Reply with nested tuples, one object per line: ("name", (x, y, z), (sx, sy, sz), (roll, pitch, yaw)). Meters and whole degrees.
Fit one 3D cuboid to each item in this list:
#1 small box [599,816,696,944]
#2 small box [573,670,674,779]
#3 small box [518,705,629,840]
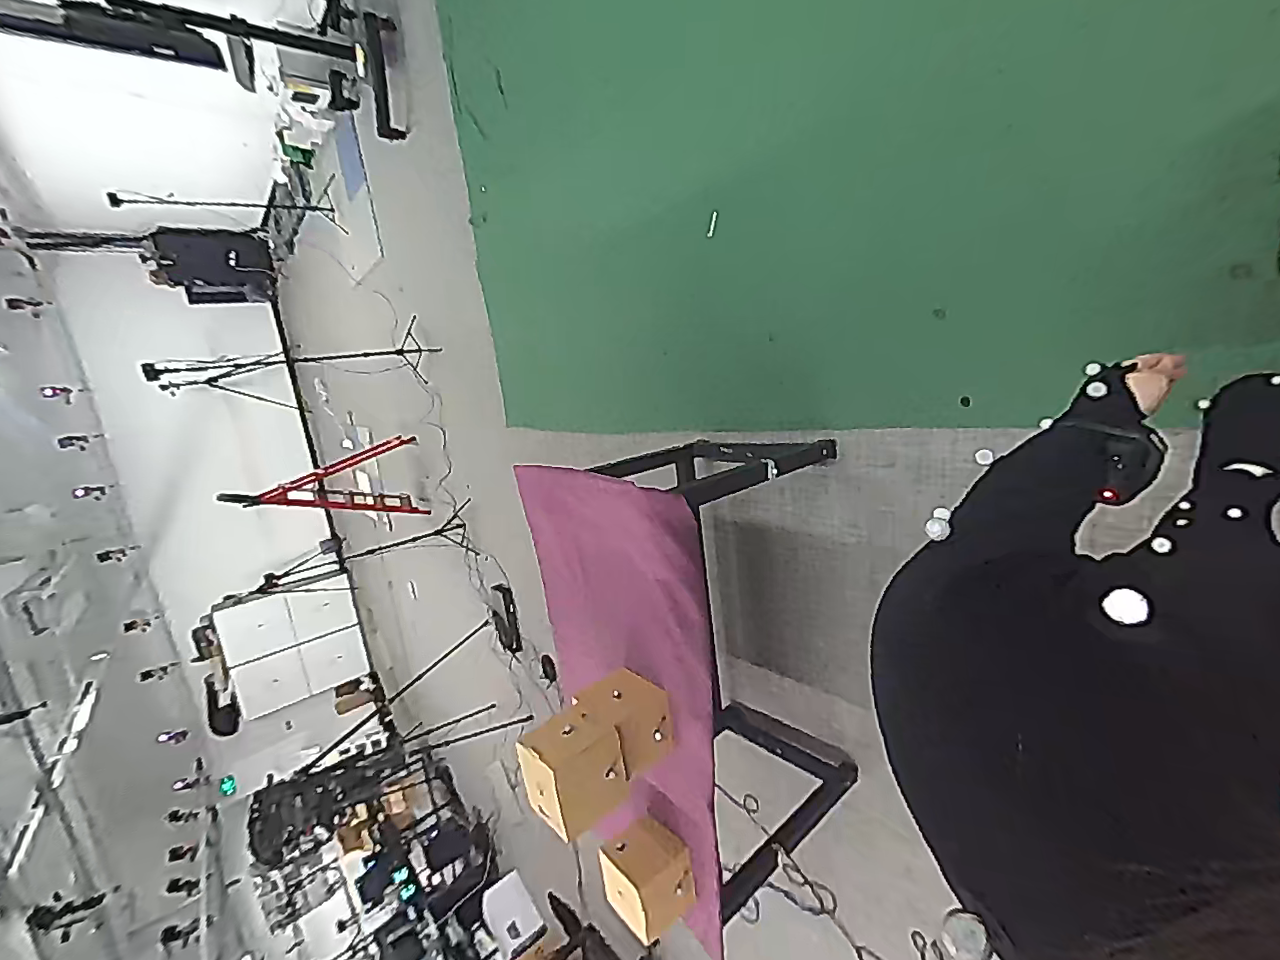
("small box", (0.020, 1.014, 1.395), (0.179, 0.176, 0.168), (5, 107, 52))
("small box", (-0.039, 0.590, 1.321), (0.179, 0.176, 0.168), (8, 109, 50))
("small box", (-0.146, 0.635, 1.203), (0.168, 0.176, 0.179), (3, 105, 51))
